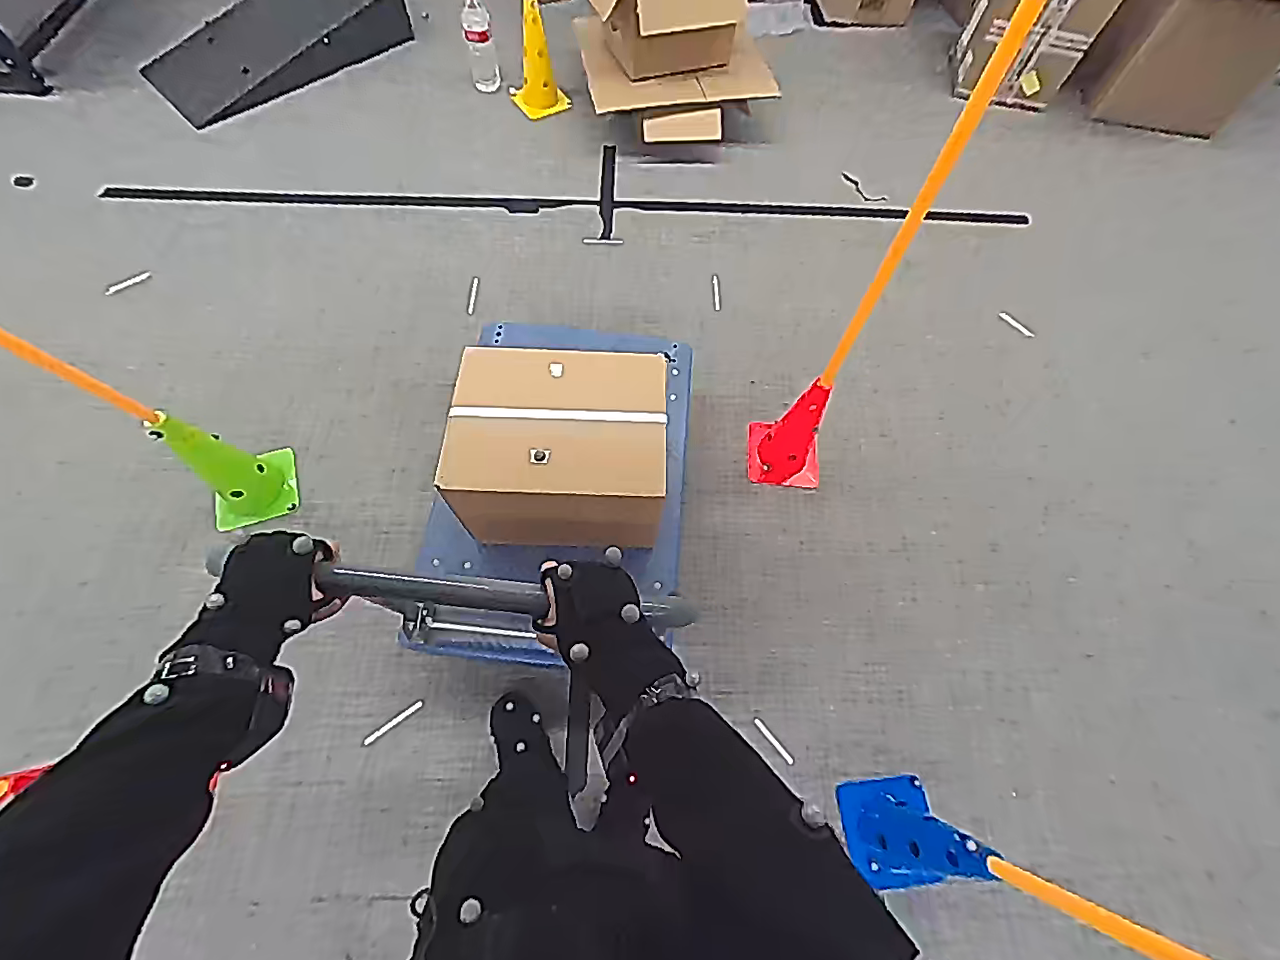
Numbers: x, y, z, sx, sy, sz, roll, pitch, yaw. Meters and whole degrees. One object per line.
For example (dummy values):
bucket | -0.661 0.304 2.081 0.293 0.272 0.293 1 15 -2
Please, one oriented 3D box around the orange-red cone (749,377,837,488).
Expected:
orange-red cone | 0.424 -0.147 1.389 0.199 0.360 0.198 7 65 0

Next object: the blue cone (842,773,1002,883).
blue cone | 0.553 0.677 1.022 0.193 0.380 0.192 -3 64 -4
